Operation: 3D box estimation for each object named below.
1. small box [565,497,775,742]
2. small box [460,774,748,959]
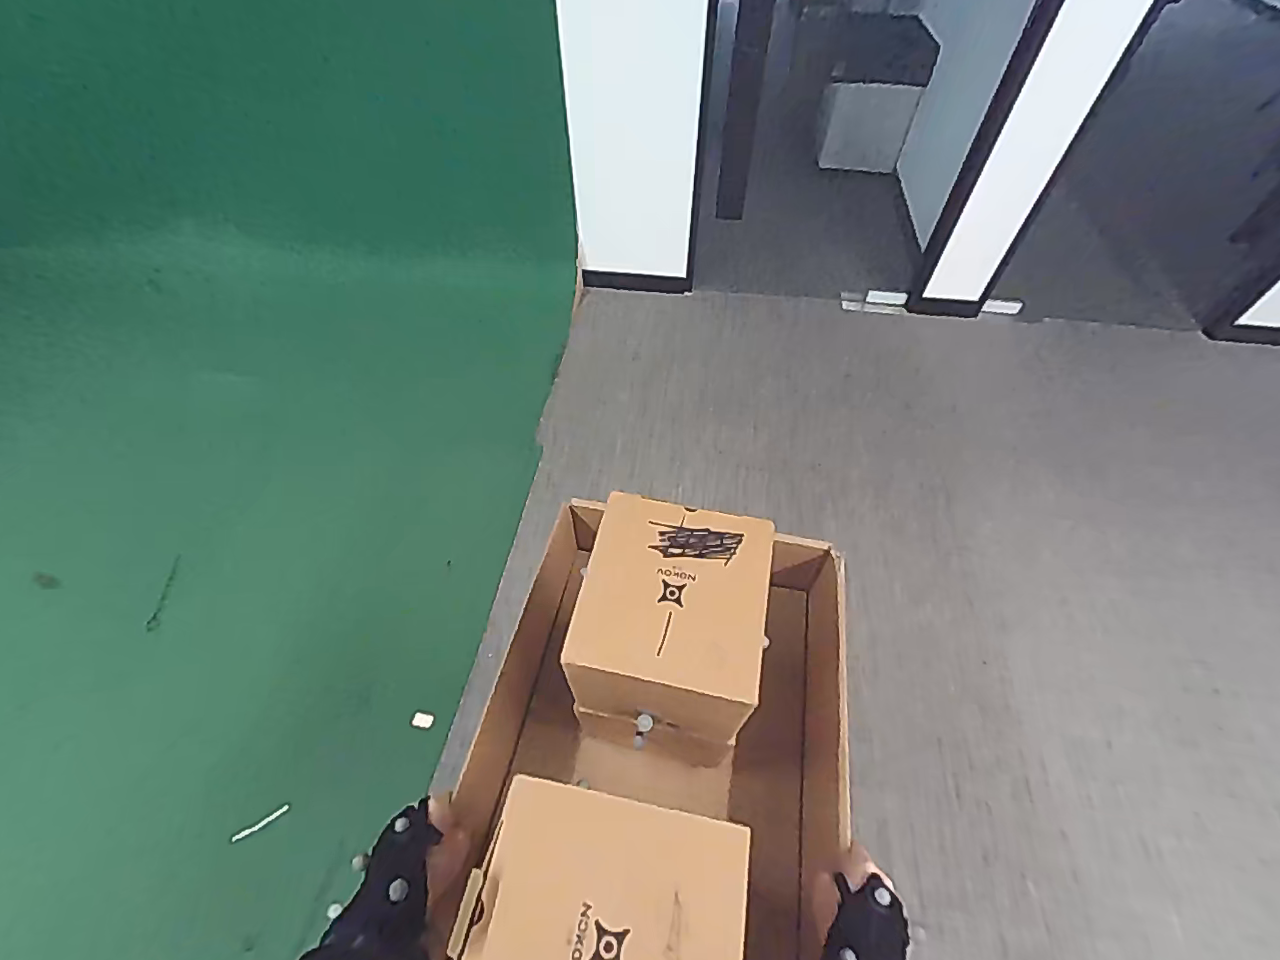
[{"bbox_3d":[0.032,0.147,0.557,0.168,0.176,0.179,12,57,7],"label":"small box"},{"bbox_3d":[-0.025,0.346,0.412,0.179,0.176,0.168,10,54,5],"label":"small box"}]
